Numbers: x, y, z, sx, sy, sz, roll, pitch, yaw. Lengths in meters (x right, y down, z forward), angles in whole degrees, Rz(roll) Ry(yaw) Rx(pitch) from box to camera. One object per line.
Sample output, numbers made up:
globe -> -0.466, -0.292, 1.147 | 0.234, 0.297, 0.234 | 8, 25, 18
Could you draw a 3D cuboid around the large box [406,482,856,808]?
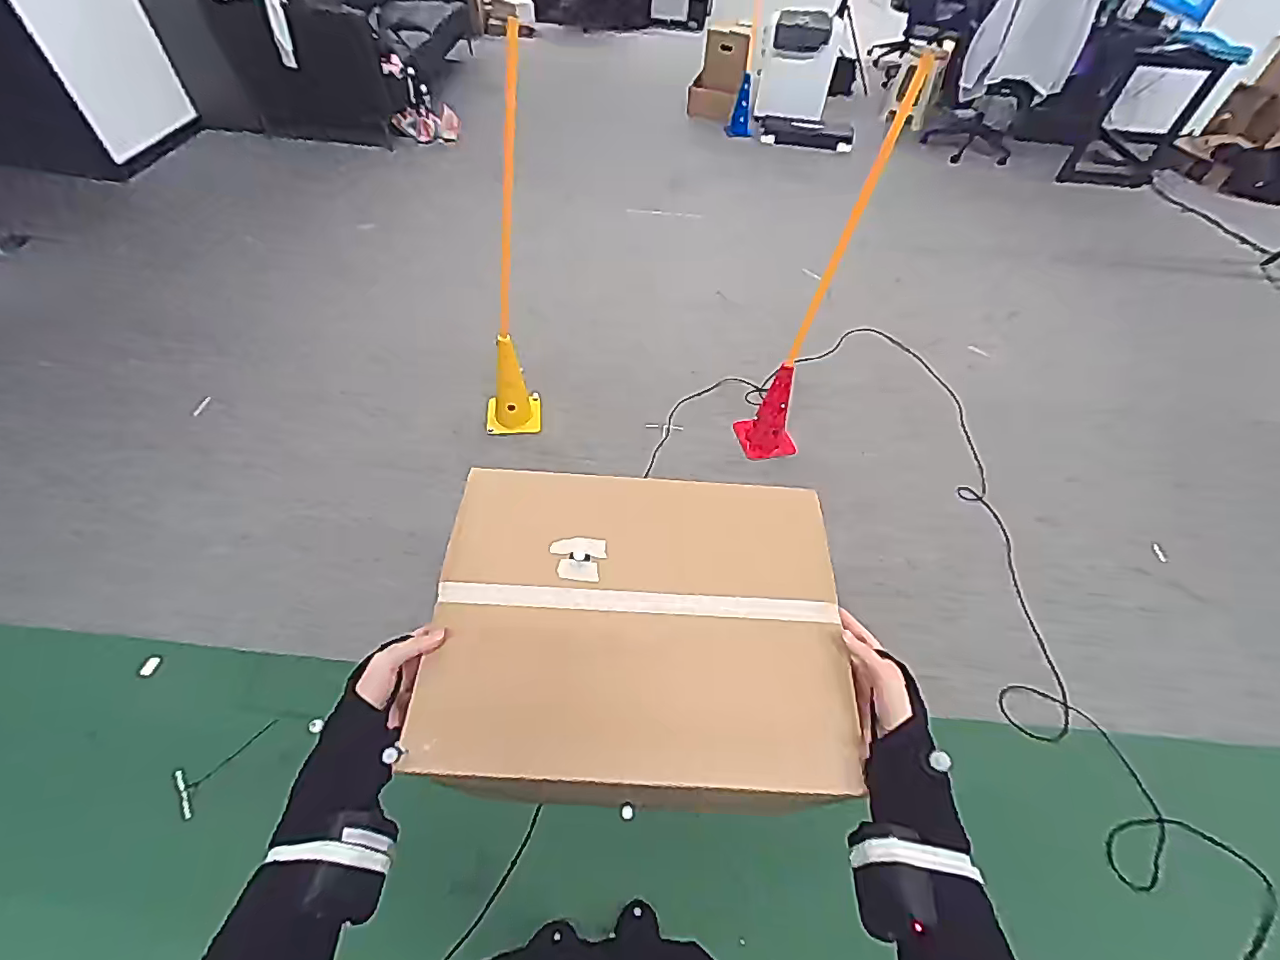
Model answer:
large box -> -0.005, 0.222, 0.677 | 0.408, 0.320, 0.320 | 4, 56, 0
